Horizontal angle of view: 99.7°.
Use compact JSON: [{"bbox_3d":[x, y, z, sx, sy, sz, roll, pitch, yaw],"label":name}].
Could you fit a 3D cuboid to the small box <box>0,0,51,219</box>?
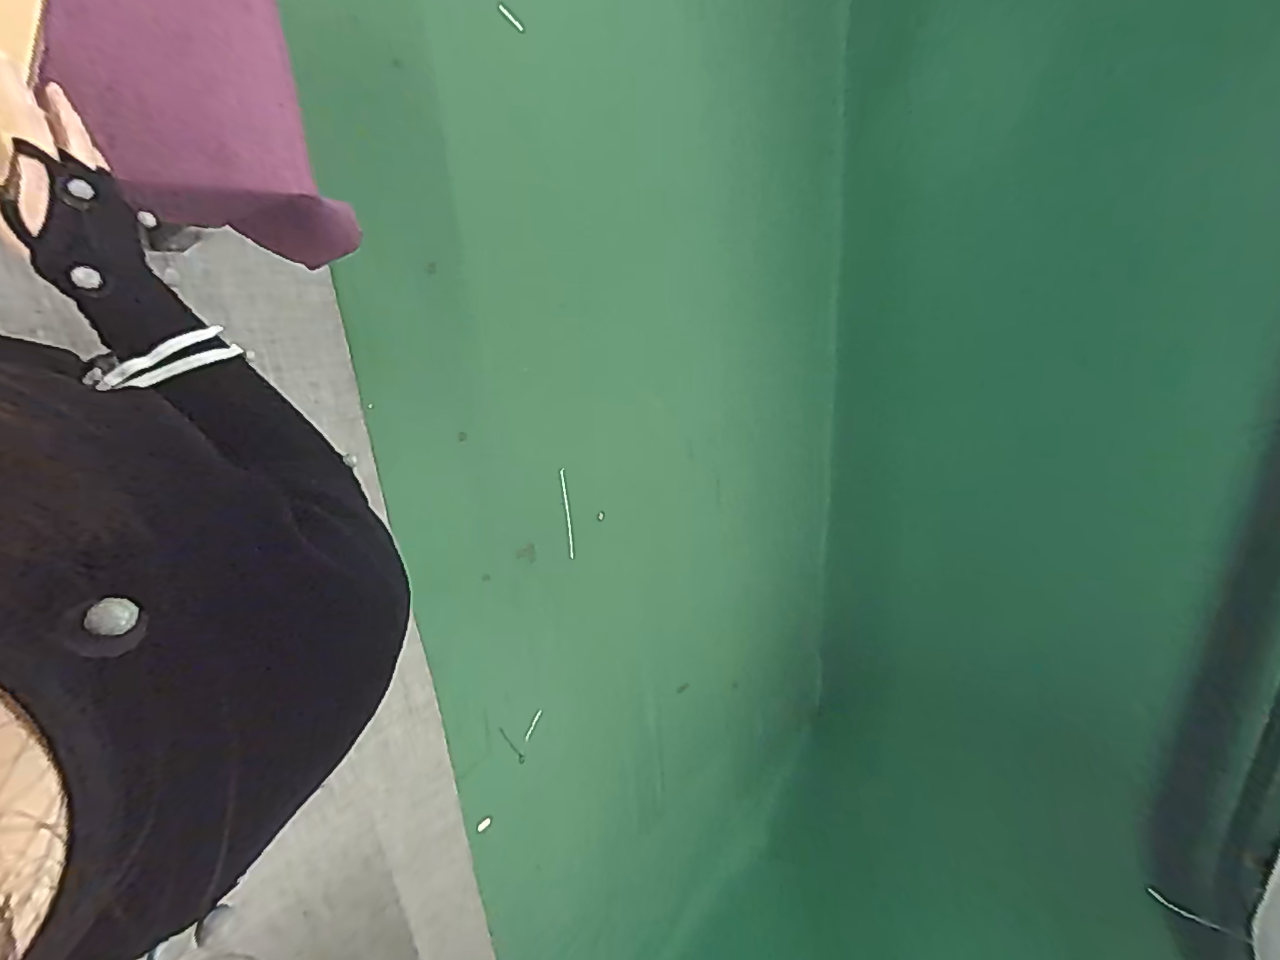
[{"bbox_3d":[-0.563,-0.319,0.394,0.168,0.176,0.179,11,90,-49],"label":"small box"}]
